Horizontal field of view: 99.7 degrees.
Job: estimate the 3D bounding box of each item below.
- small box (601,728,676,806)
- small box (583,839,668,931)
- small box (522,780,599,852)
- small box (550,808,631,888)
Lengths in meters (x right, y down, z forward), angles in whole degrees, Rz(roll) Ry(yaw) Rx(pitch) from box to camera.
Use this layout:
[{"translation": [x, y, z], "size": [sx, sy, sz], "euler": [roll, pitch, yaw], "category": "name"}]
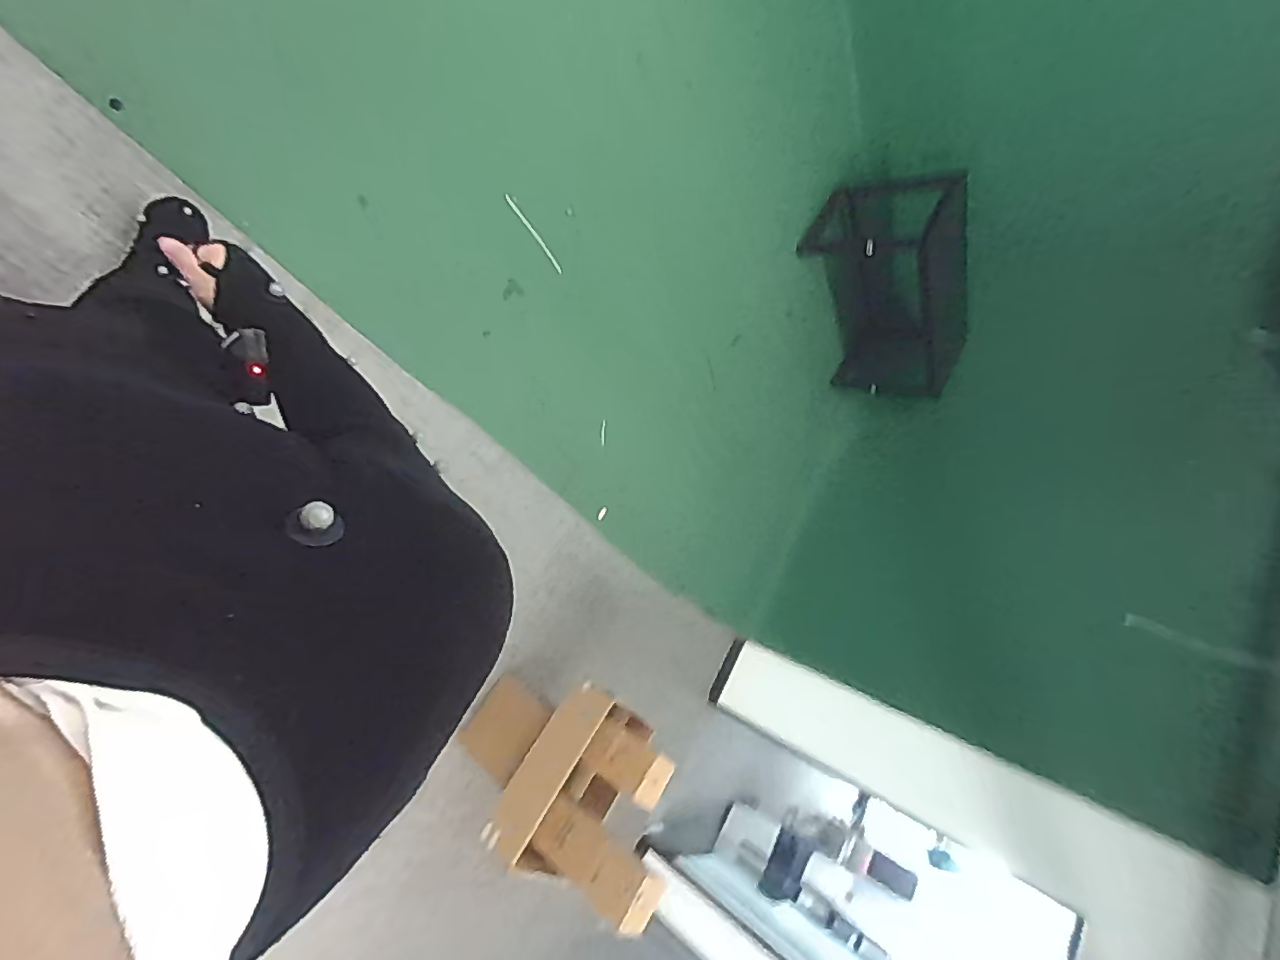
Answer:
[{"translation": [-0.005, 1.015, 1.920], "size": [0.168, 0.176, 0.179], "euler": [-54, 137, -22], "category": "small box"}, {"translation": [-0.045, 1.274, 1.706], "size": [0.168, 0.176, 0.179], "euler": [-55, 138, -22], "category": "small box"}, {"translation": [-0.284, 1.200, 1.916], "size": [0.168, 0.176, 0.179], "euler": [-54, 137, -22], "category": "small box"}, {"translation": [-0.166, 1.235, 1.810], "size": [0.168, 0.176, 0.179], "euler": [-55, 137, -22], "category": "small box"}]
